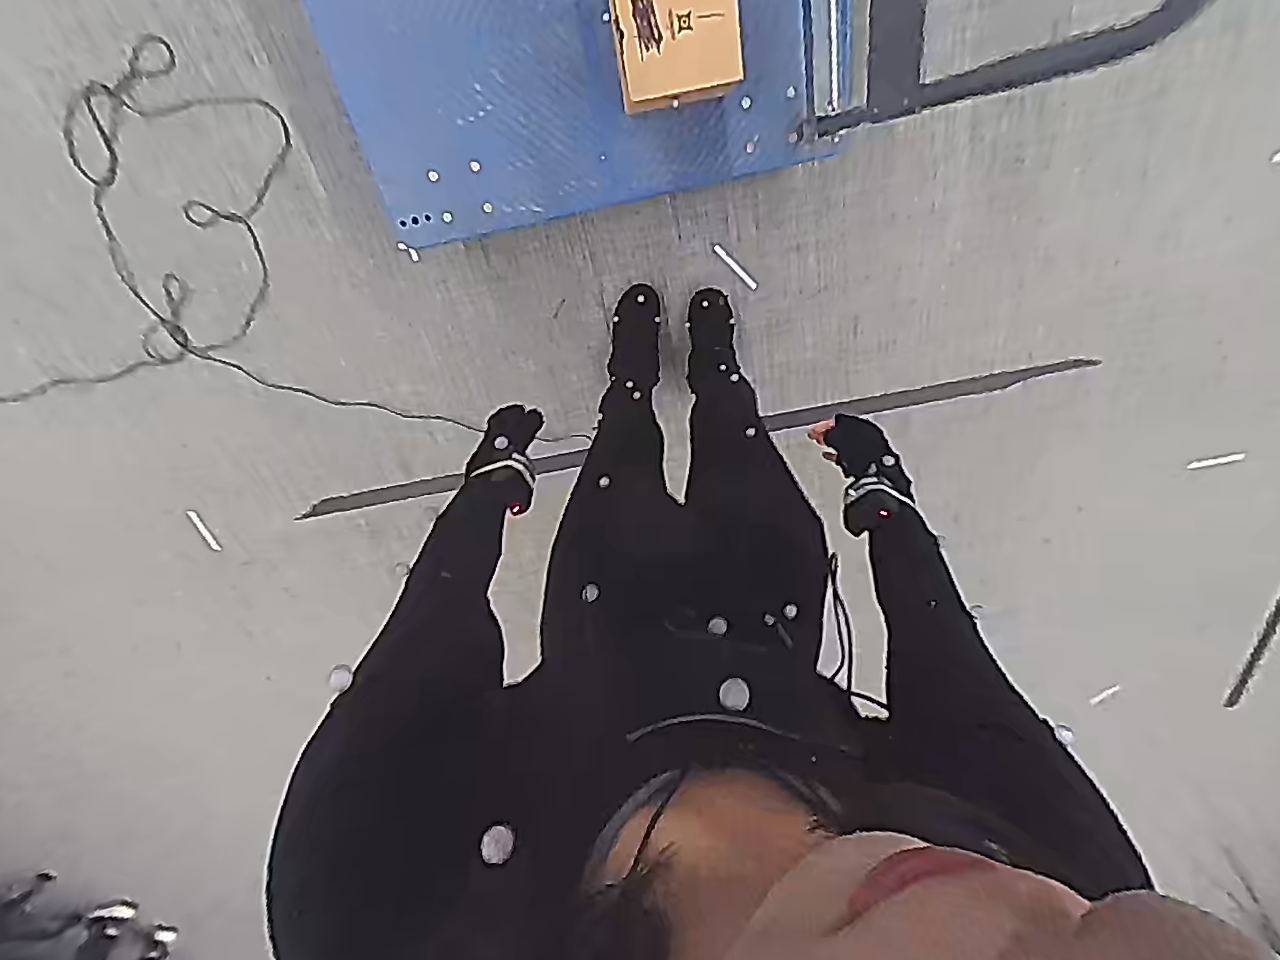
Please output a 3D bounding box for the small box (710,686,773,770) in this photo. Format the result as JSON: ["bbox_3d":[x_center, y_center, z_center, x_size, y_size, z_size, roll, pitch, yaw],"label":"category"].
[{"bbox_3d":[0.317,0.779,1.701,0.168,0.176,0.179,-8,120,2],"label":"small box"}]

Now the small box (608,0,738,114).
[{"bbox_3d":[0.047,-0.691,0.846,0.179,0.176,0.168,-10,118,2],"label":"small box"}]
